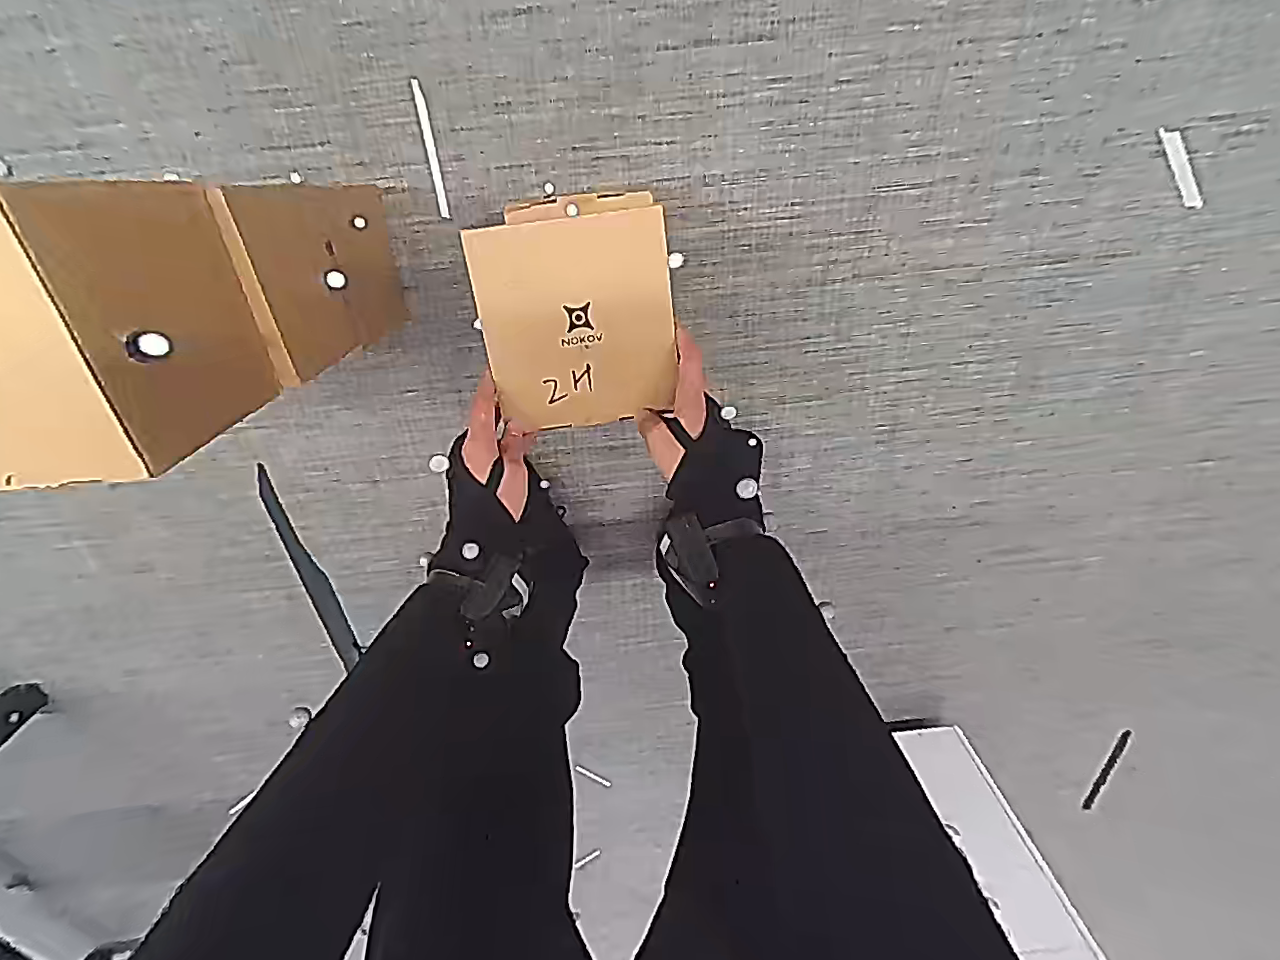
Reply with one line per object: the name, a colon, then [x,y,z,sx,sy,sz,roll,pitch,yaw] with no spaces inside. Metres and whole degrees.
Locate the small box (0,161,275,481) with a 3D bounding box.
small box: [-0.402,-0.115,0.374,0.168,0.176,0.179,-4,120,-2]

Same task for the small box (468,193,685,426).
small box: [-0.054,-0.168,0.534,0.168,0.176,0.179,-8,113,0]

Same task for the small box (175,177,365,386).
small box: [-0.401,-0.190,0.519,0.179,0.176,0.168,-6,120,-2]

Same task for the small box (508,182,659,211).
small box: [-0.057,-0.272,0.686,0.168,0.176,0.179,-6,121,1]
